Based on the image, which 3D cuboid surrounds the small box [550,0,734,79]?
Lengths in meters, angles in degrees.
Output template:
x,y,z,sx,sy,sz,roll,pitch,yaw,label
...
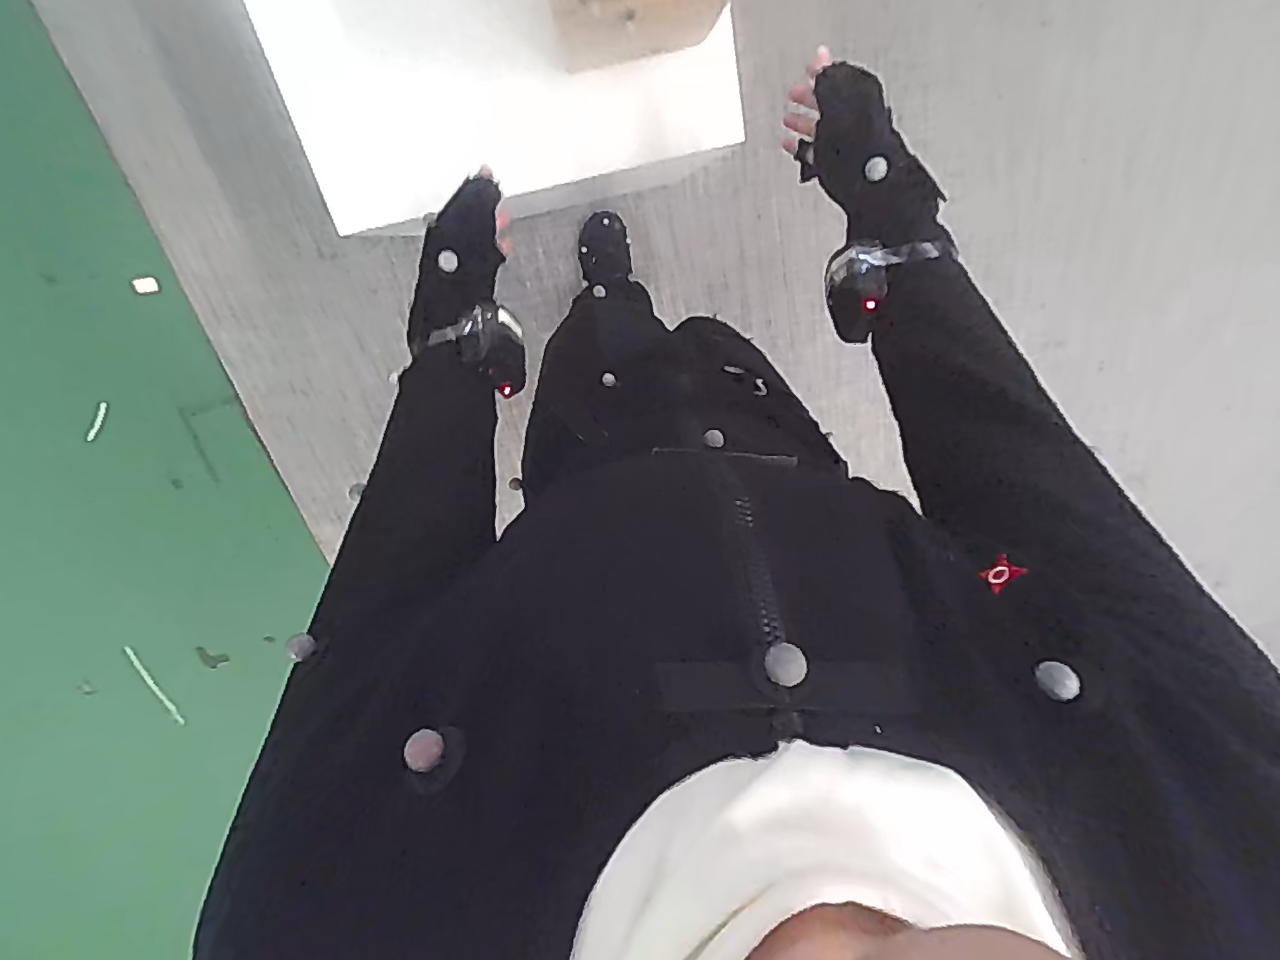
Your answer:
x,y,z,sx,sy,sz,roll,pitch,yaw,label
-0.014,-0.517,0.506,0.168,0.176,0.179,-12,114,2,small box
